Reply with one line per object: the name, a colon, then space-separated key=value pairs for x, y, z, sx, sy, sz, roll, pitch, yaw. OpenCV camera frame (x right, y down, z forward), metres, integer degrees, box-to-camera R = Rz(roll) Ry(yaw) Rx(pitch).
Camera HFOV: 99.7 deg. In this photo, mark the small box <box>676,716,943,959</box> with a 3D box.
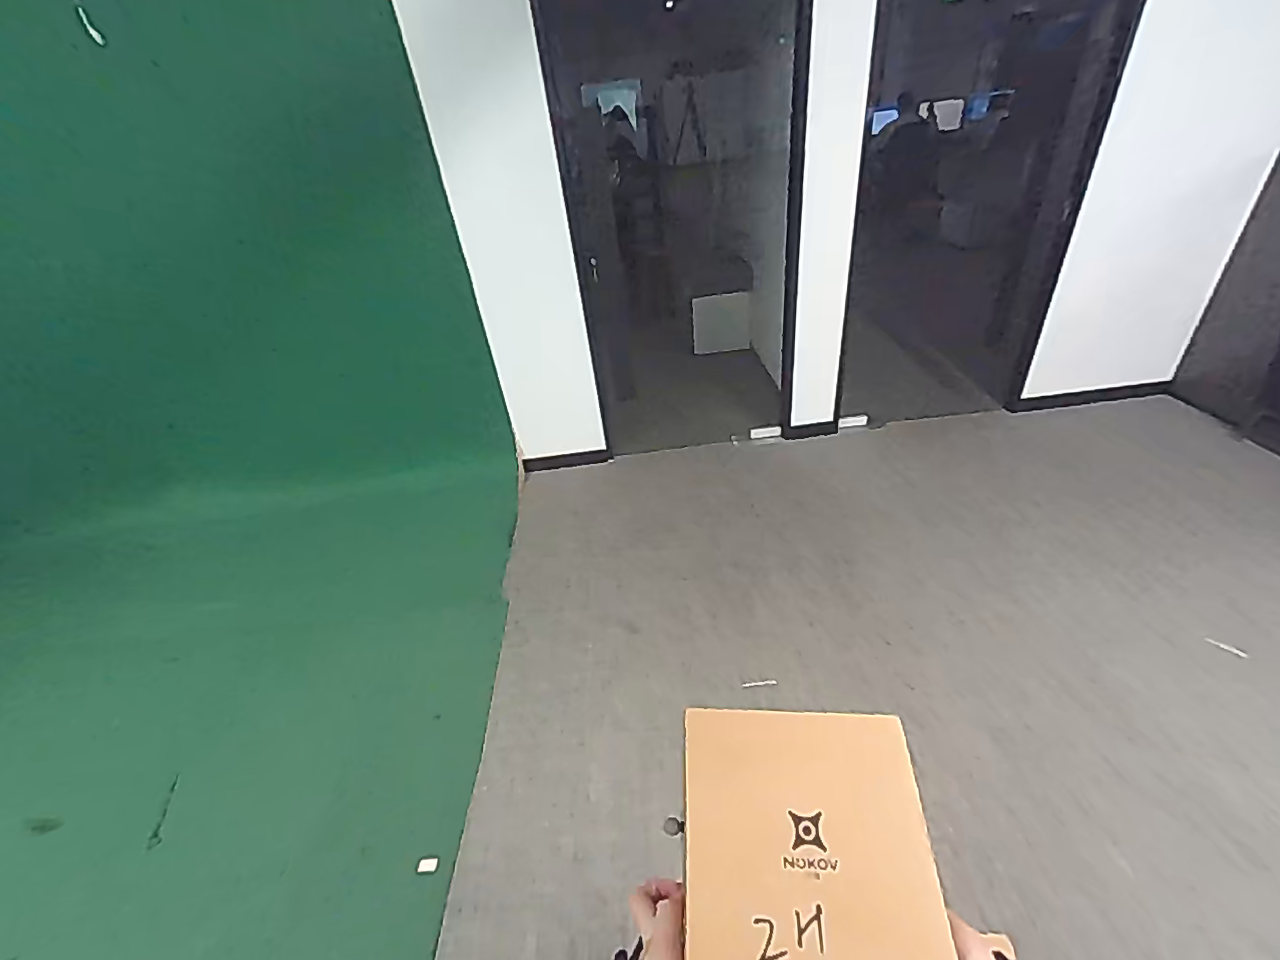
small box: x=0.114 y=0.308 z=0.436 sx=0.168 sy=0.176 sz=0.179 roll=0 pitch=52 yaw=5
